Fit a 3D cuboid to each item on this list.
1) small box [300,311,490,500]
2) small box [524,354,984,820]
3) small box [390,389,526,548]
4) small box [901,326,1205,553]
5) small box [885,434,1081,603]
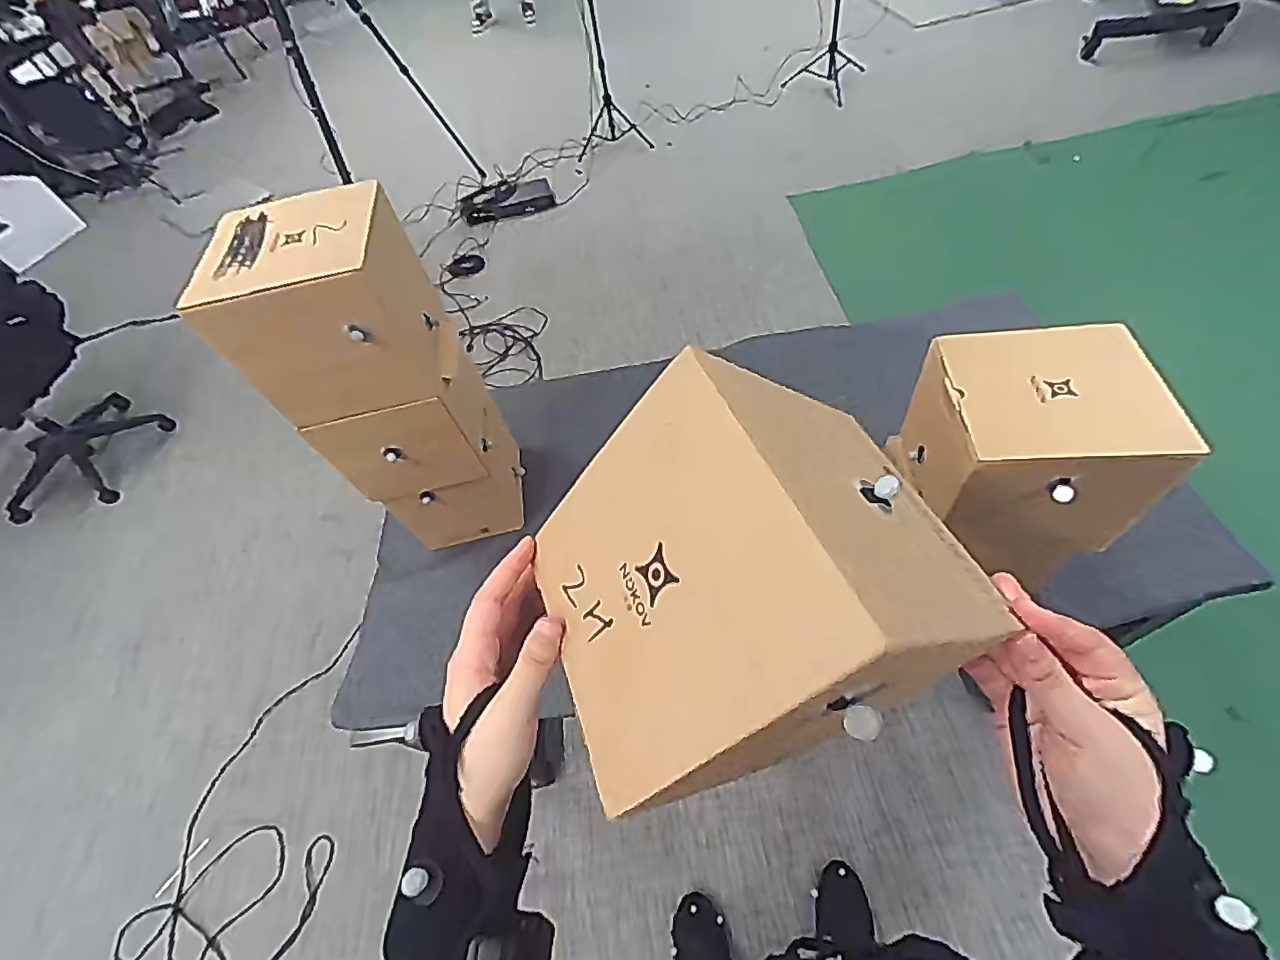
[{"bbox_3d":[-0.313,-0.094,0.736,0.179,0.176,0.168,-13,55,2],"label":"small box"},{"bbox_3d":[0.062,0.062,0.316,0.179,0.176,0.168,-48,50,32],"label":"small box"},{"bbox_3d":[-0.292,-0.015,0.879,0.168,0.176,0.179,-13,55,1],"label":"small box"},{"bbox_3d":[0.393,-0.034,0.560,0.179,0.176,0.168,-2,54,11],"label":"small box"},{"bbox_3d":[0.417,0.048,0.698,0.168,0.176,0.179,-10,54,4],"label":"small box"}]
